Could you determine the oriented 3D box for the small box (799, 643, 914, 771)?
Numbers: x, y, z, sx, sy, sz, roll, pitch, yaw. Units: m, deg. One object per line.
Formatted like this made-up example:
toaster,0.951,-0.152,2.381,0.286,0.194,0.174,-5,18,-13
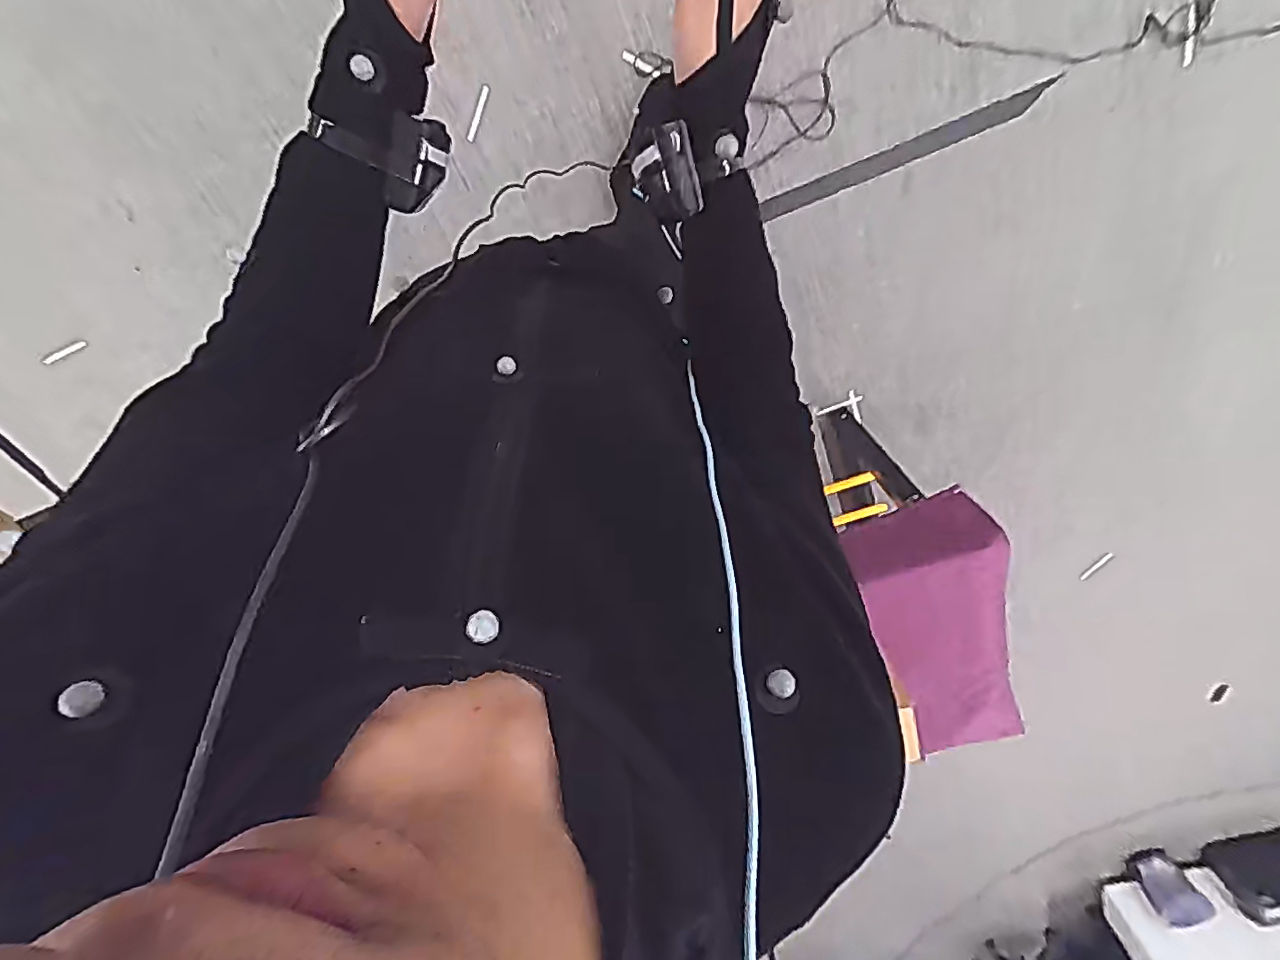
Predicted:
small box,0.441,0.459,1.116,0.168,0.176,0.179,-17,120,9
